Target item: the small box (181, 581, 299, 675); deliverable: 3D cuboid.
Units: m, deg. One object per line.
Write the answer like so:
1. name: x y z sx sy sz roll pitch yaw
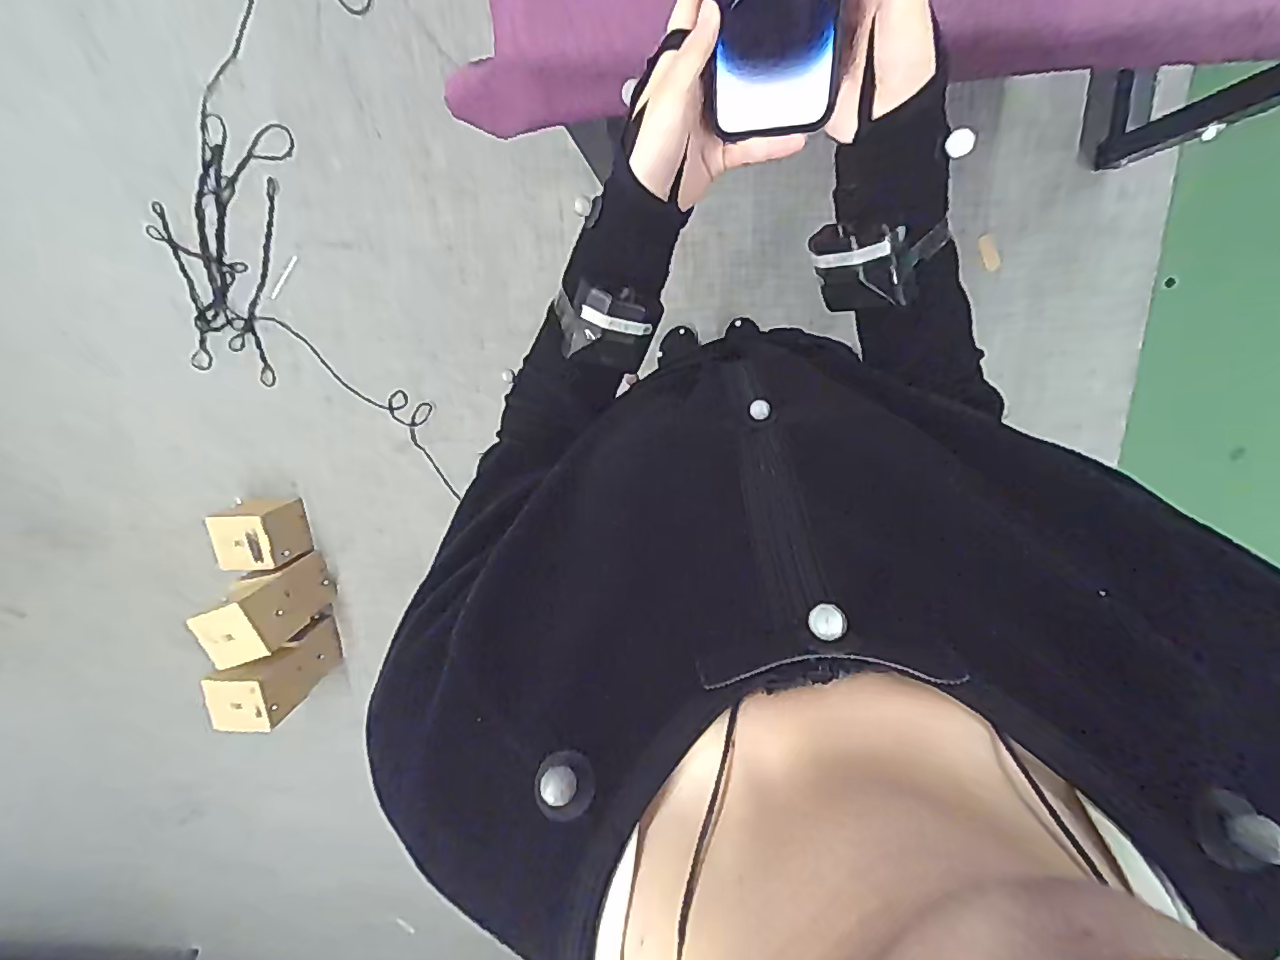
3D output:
1. small box: -1.082 0.400 1.485 0.179 0.176 0.168 -19 103 11

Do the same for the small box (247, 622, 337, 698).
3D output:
1. small box: -1.090 0.558 1.698 0.168 0.176 0.179 -2 106 7
